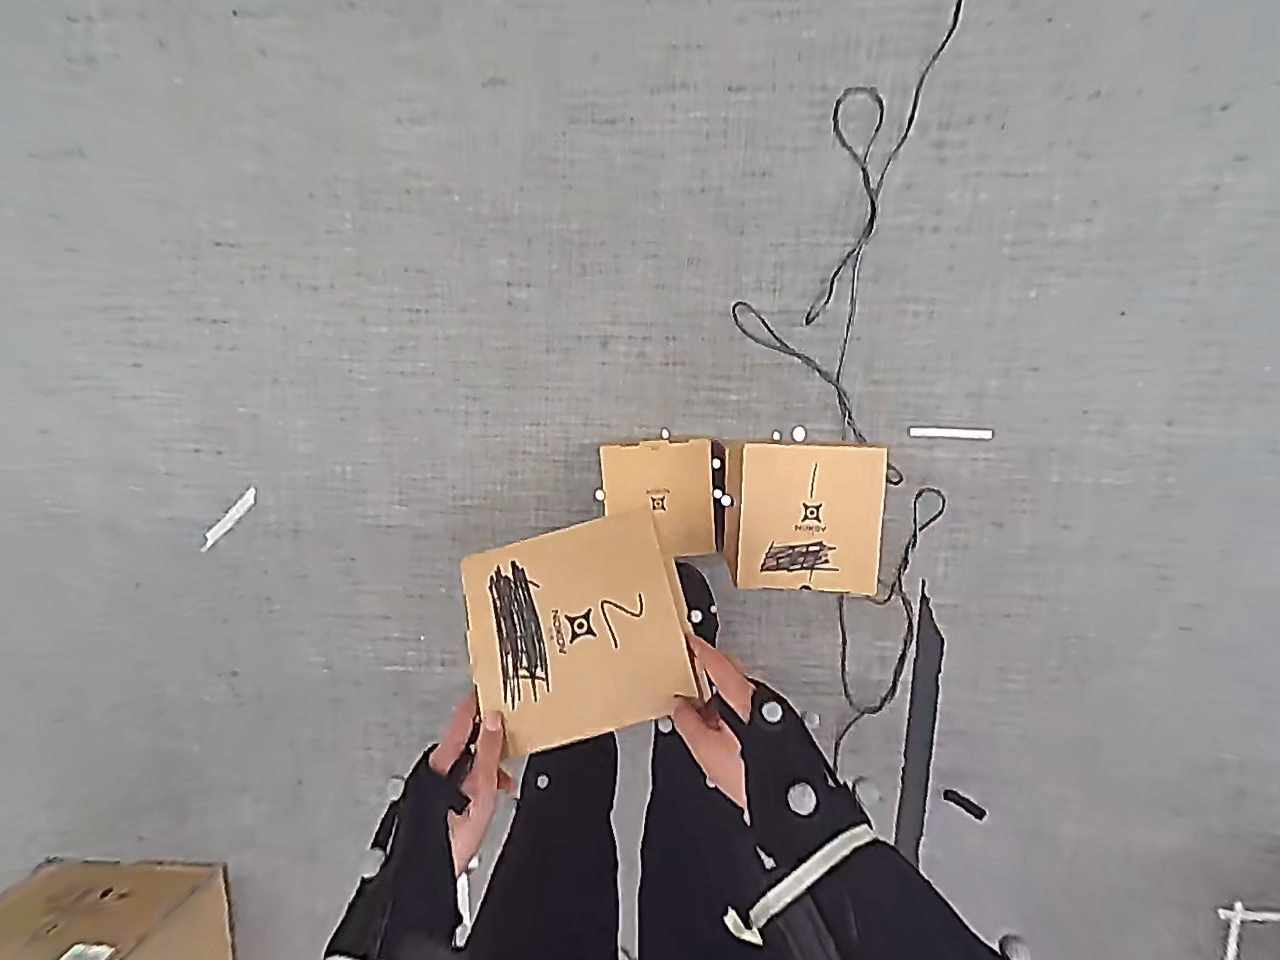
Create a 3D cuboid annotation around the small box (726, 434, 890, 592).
[{"bbox_3d":[0.204,0.032,0.703,0.168,0.176,0.179,2,96,3],"label":"small box"}]
